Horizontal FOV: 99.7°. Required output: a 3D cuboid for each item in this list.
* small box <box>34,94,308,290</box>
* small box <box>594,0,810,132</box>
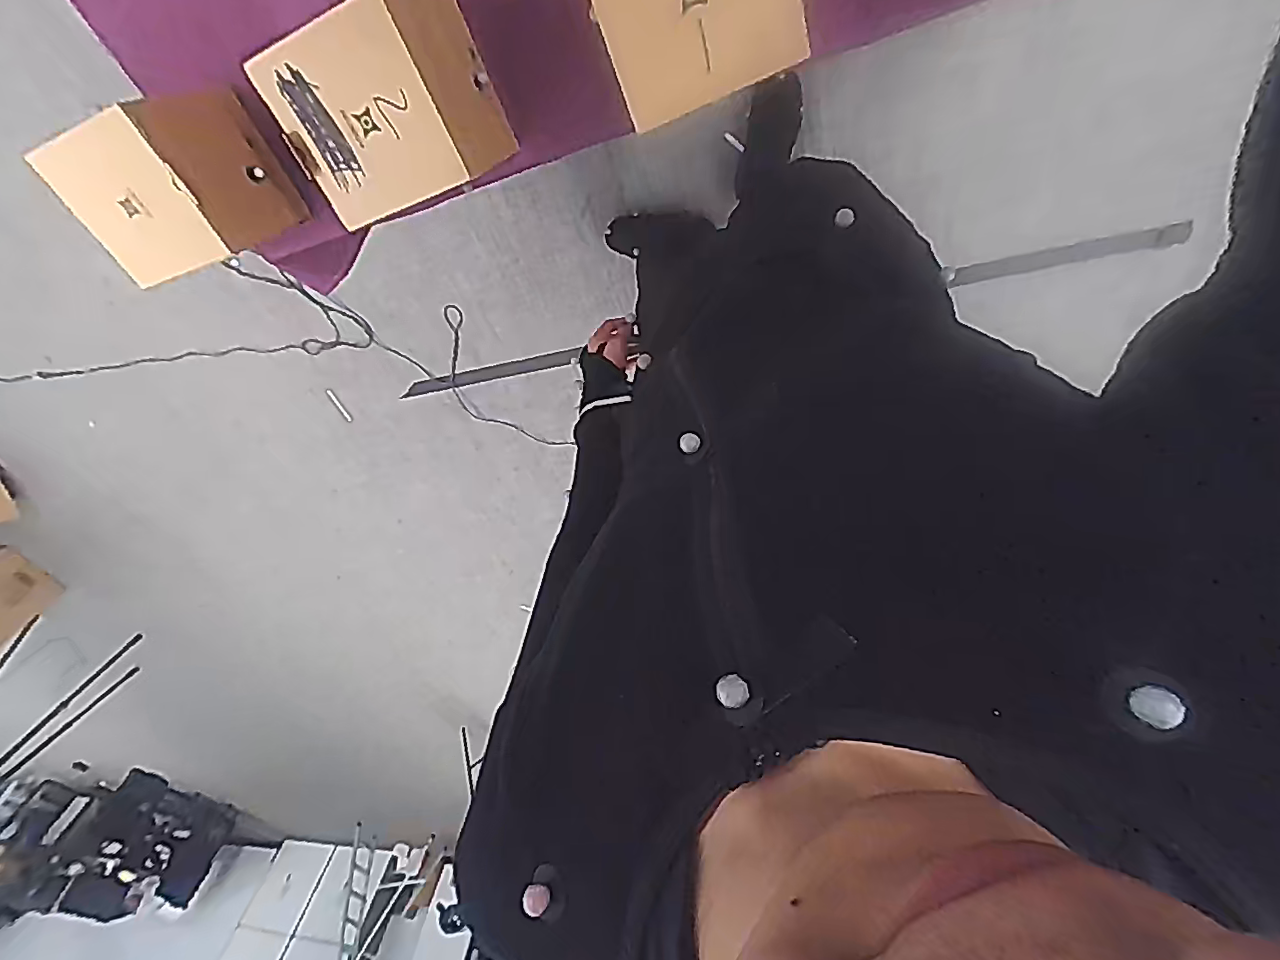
[{"bbox_3d":[-0.593,-0.378,0.711,0.179,0.176,0.168,-10,128,18],"label":"small box"},{"bbox_3d":[0.053,-0.463,0.502,0.168,0.176,0.179,-12,128,21],"label":"small box"}]
